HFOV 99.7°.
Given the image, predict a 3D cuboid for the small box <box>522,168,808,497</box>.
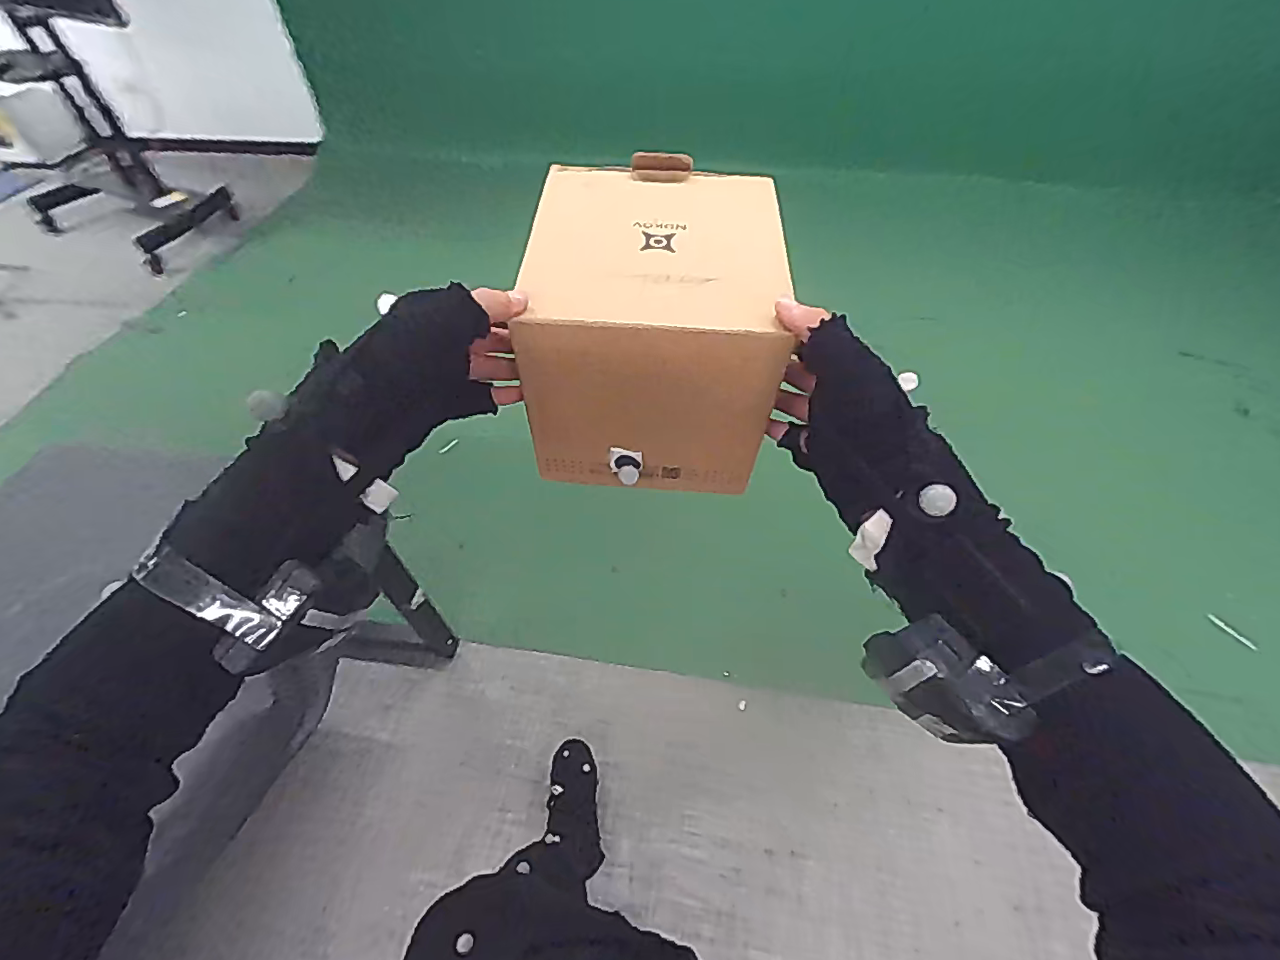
[{"bbox_3d":[0.016,-0.108,0.417,0.168,0.176,0.179,3,56,1],"label":"small box"}]
